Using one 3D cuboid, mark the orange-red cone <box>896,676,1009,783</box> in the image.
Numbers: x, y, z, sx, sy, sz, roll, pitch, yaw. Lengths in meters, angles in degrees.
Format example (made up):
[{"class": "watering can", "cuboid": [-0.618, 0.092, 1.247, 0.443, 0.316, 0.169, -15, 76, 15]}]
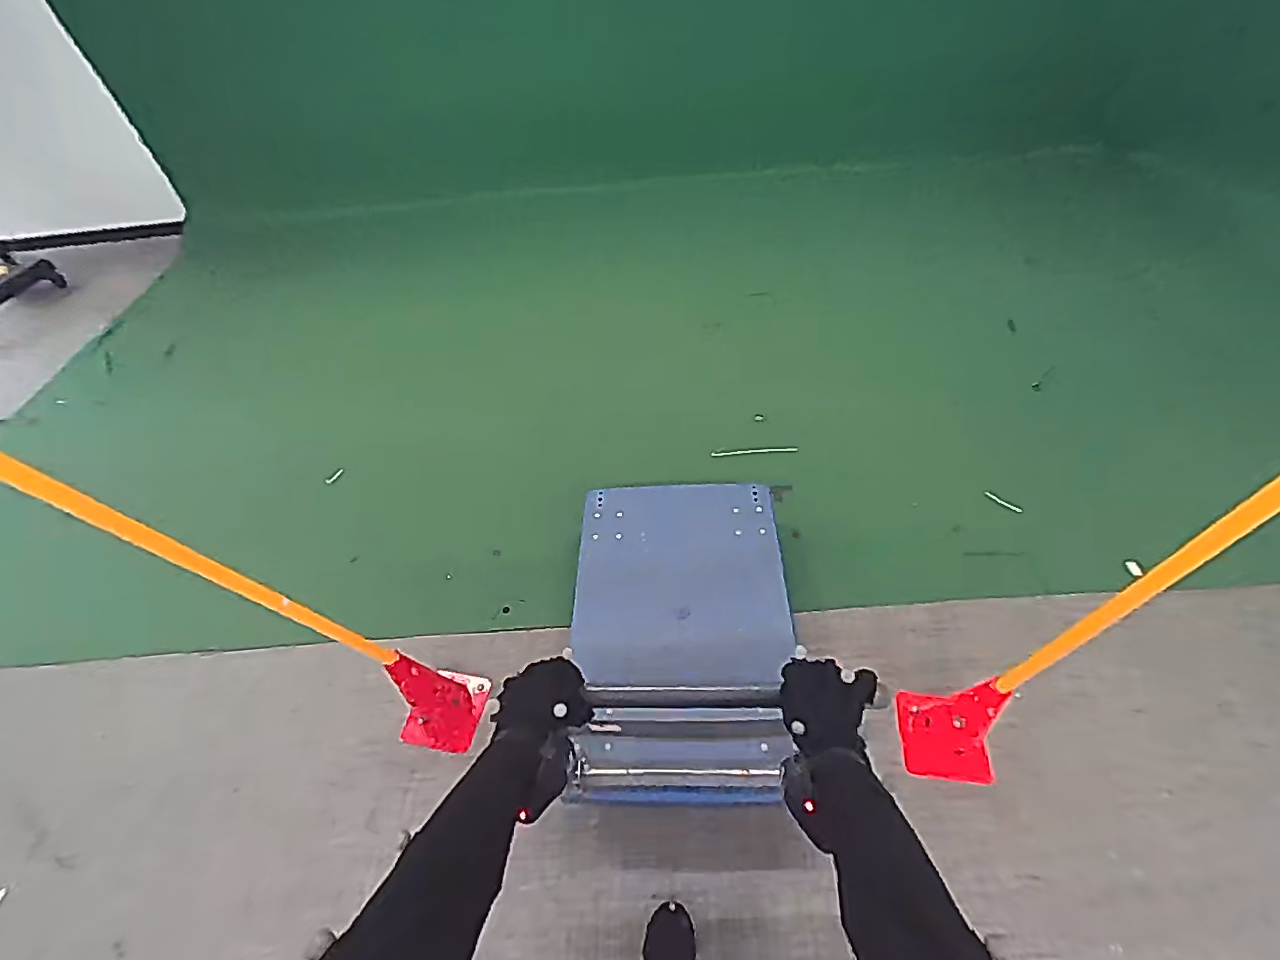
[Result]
[{"class": "orange-red cone", "cuboid": [0.736, 0.524, 1.214, 0.198, 0.360, 0.199, 4, 51, 10]}]
